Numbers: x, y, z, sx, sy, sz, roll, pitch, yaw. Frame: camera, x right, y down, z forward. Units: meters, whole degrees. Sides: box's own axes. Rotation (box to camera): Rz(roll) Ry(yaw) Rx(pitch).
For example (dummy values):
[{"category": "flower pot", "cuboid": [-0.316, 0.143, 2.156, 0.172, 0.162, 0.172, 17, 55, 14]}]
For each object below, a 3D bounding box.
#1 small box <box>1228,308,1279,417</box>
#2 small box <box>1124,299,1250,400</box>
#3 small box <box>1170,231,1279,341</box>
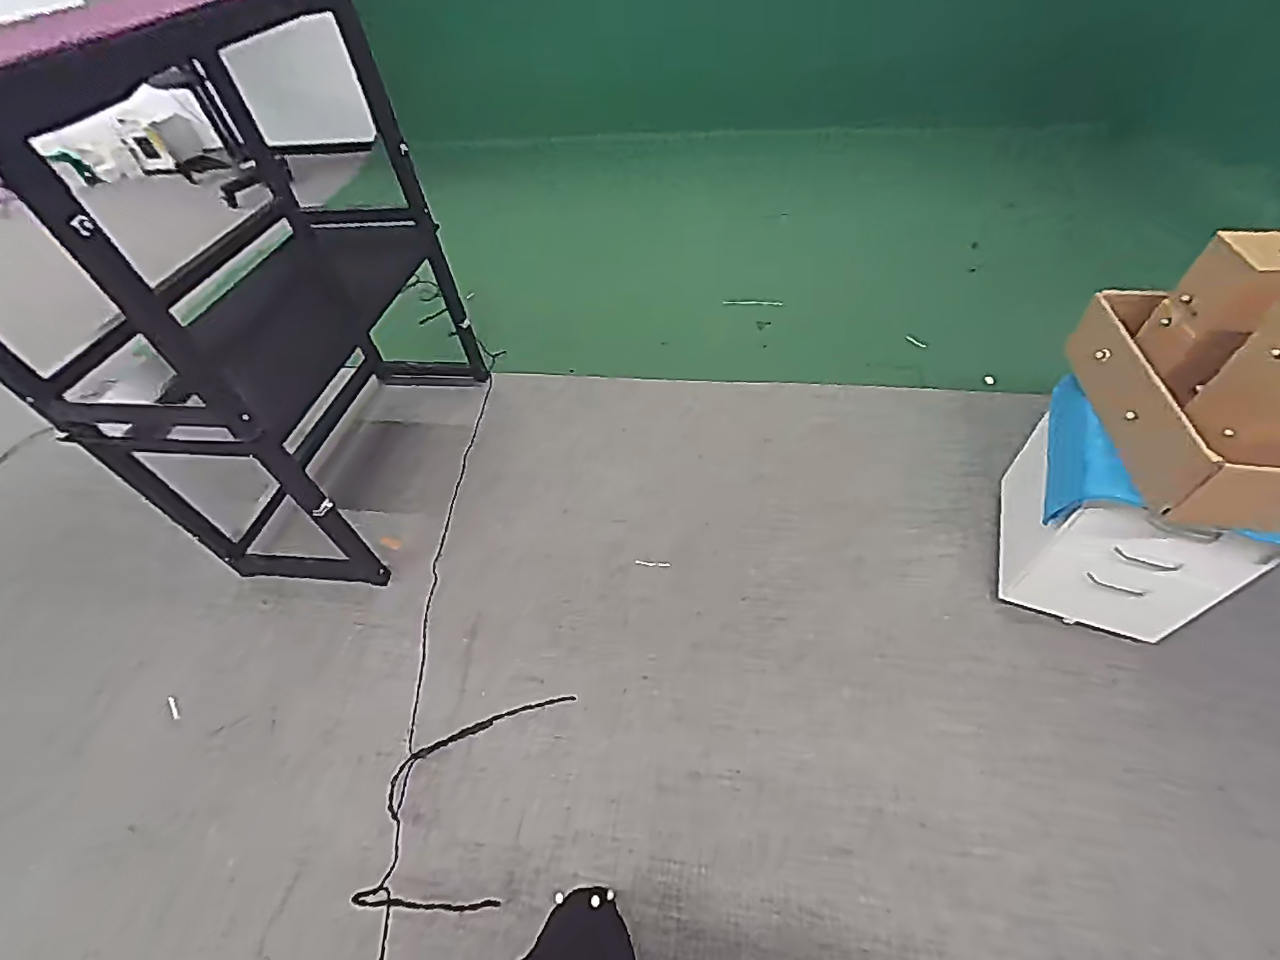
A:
[{"category": "small box", "cuboid": [1.277, -0.215, 0.998, 0.168, 0.176, 0.179, 5, 49, 8]}, {"category": "small box", "cuboid": [1.329, -0.310, 1.291, 0.179, 0.176, 0.168, 6, 51, 8]}, {"category": "small box", "cuboid": [1.326, -0.414, 1.166, 0.179, 0.176, 0.168, 5, 51, 9]}]
